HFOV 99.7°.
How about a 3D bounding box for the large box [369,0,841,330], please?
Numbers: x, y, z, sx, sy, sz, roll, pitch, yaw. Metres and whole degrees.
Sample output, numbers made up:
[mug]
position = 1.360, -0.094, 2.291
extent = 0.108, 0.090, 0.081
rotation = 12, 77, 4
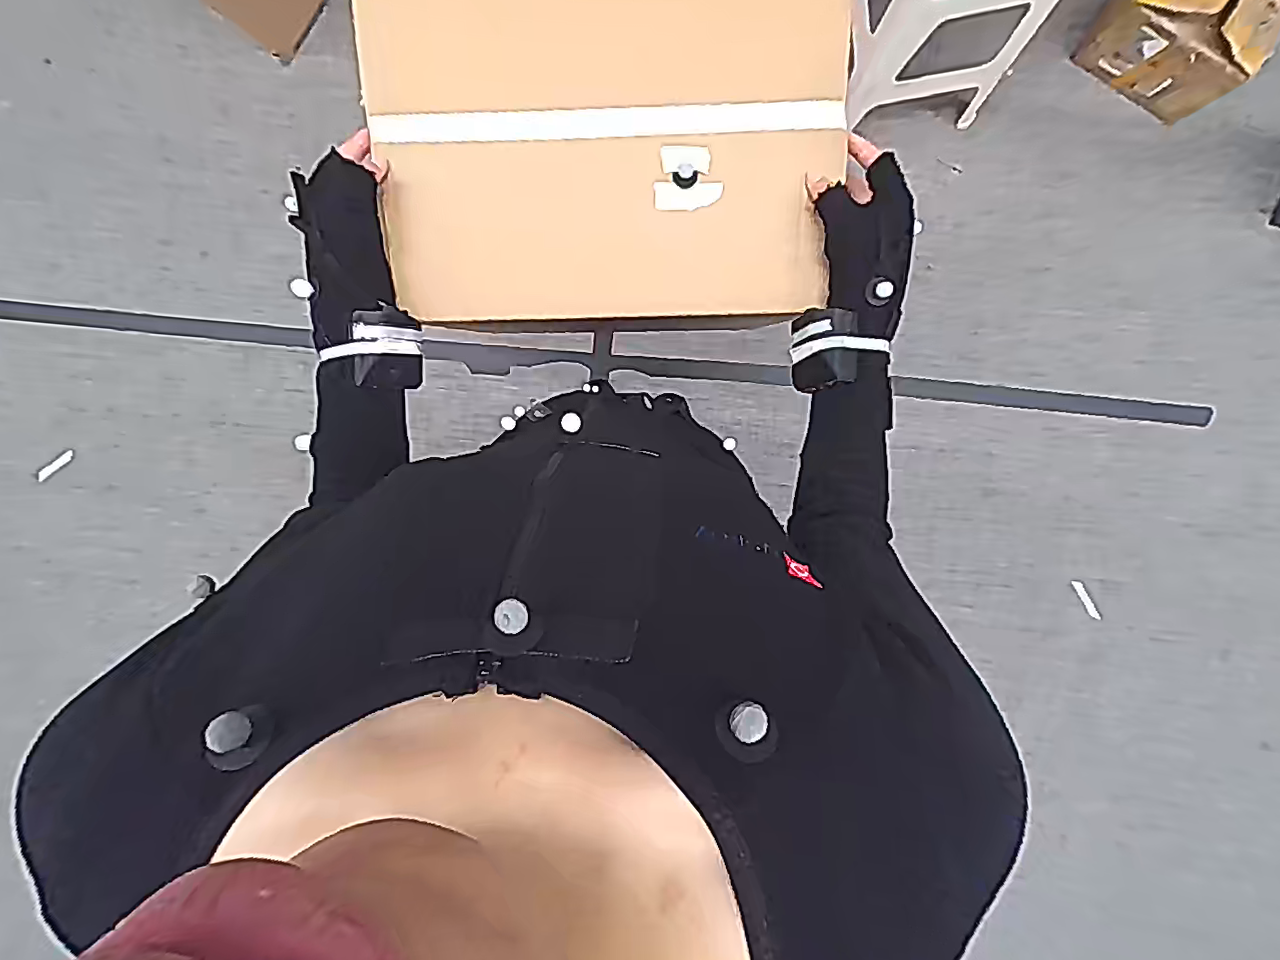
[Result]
[large box]
position = -0.029, -0.345, 0.617
extent = 0.408, 0.320, 0.320
rotation = -1, 103, 0
